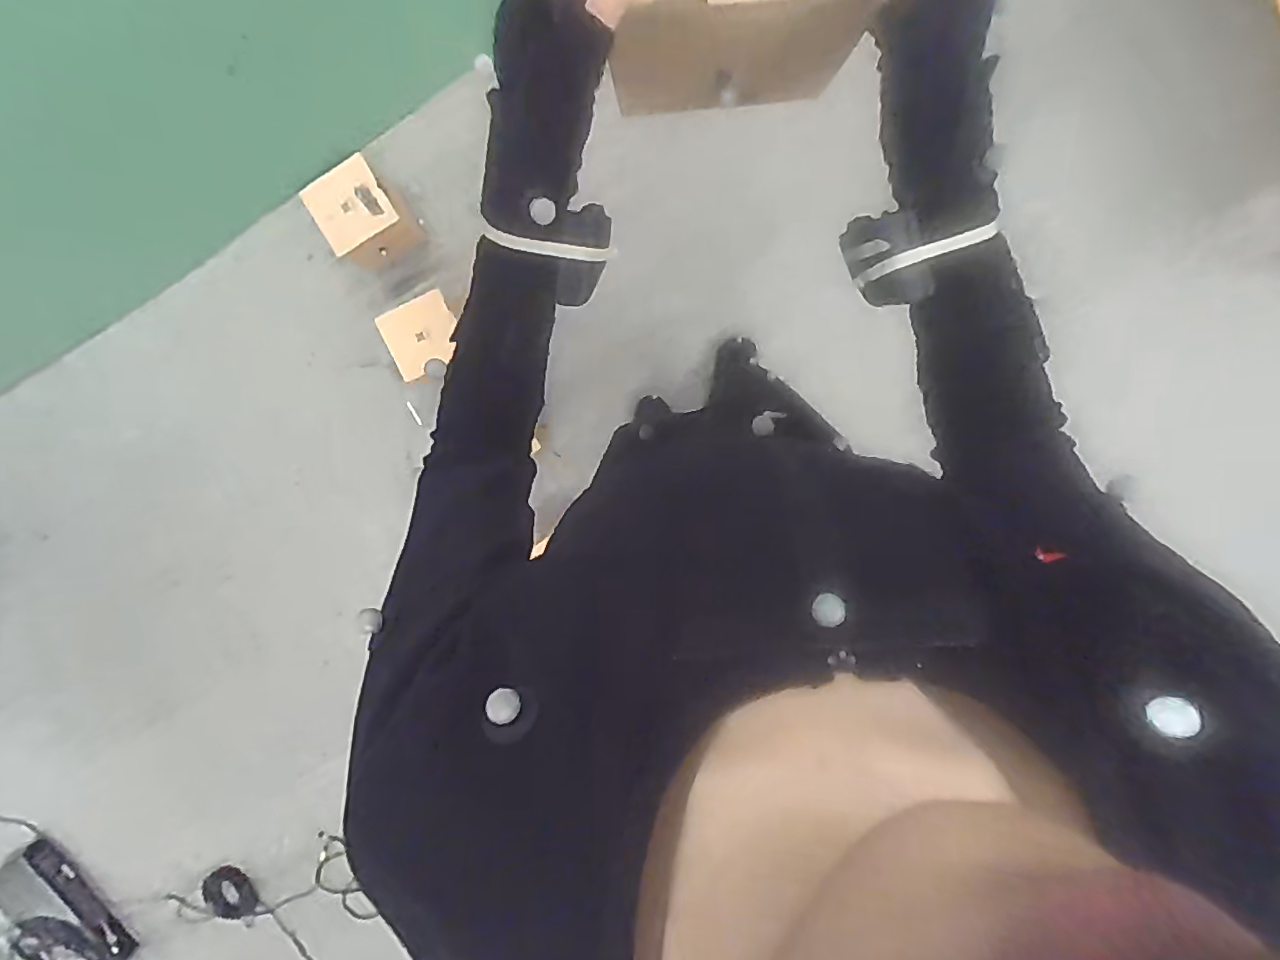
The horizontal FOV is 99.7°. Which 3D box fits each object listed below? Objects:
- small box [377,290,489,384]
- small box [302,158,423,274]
[{"bbox_3d":[-0.505,-0.345,1.347,0.179,0.176,0.168,-24,98,4],"label":"small box"},{"bbox_3d":[-0.652,-0.625,1.303,0.179,0.176,0.168,-29,98,6],"label":"small box"}]
